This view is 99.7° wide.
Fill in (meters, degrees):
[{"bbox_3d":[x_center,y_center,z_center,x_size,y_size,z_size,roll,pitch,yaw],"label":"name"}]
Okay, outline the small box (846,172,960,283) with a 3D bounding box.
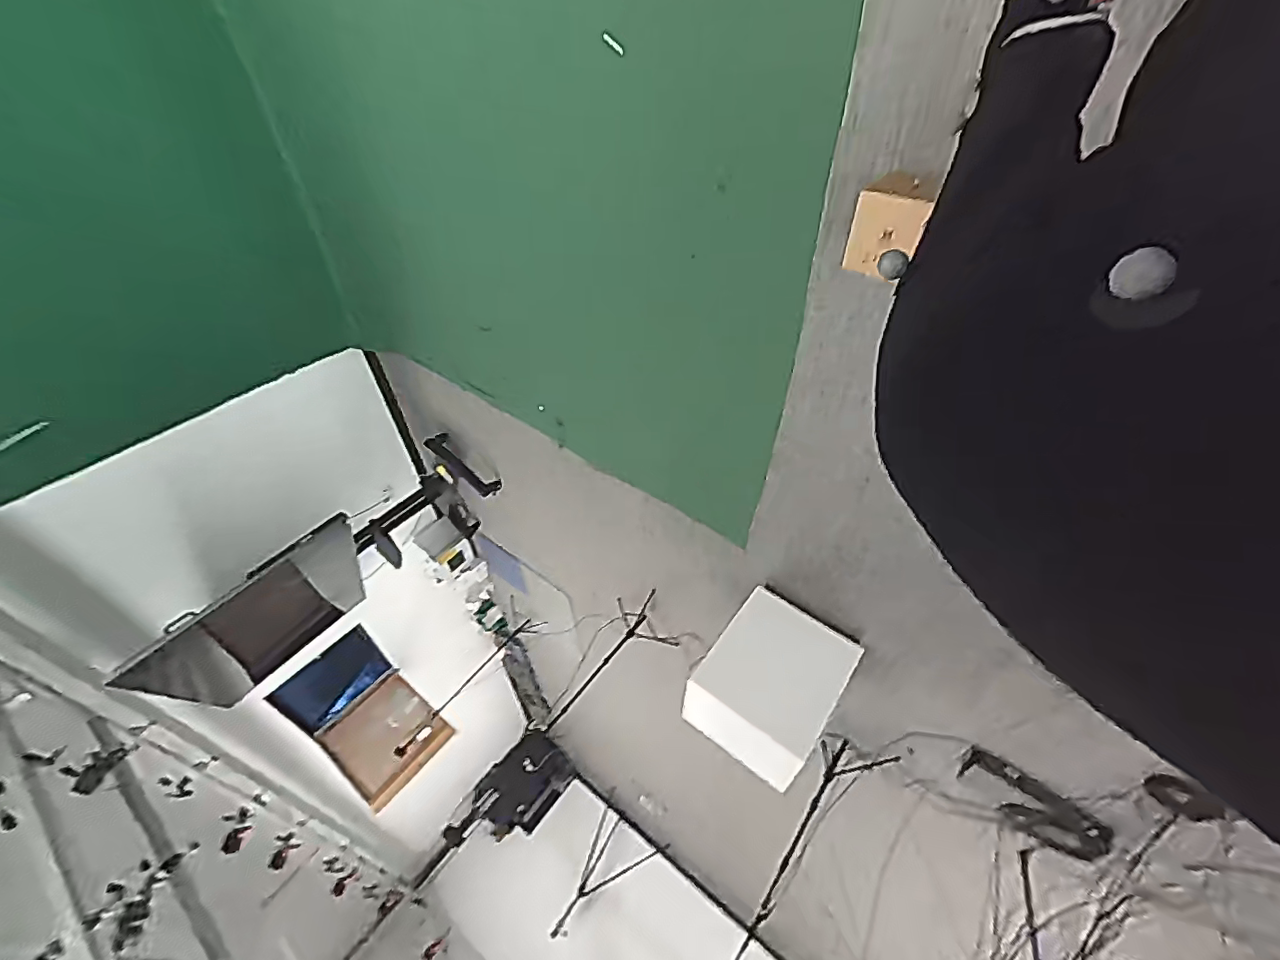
[{"bbox_3d":[0.602,-0.583,1.236,0.168,0.176,0.179,29,142,27],"label":"small box"}]
